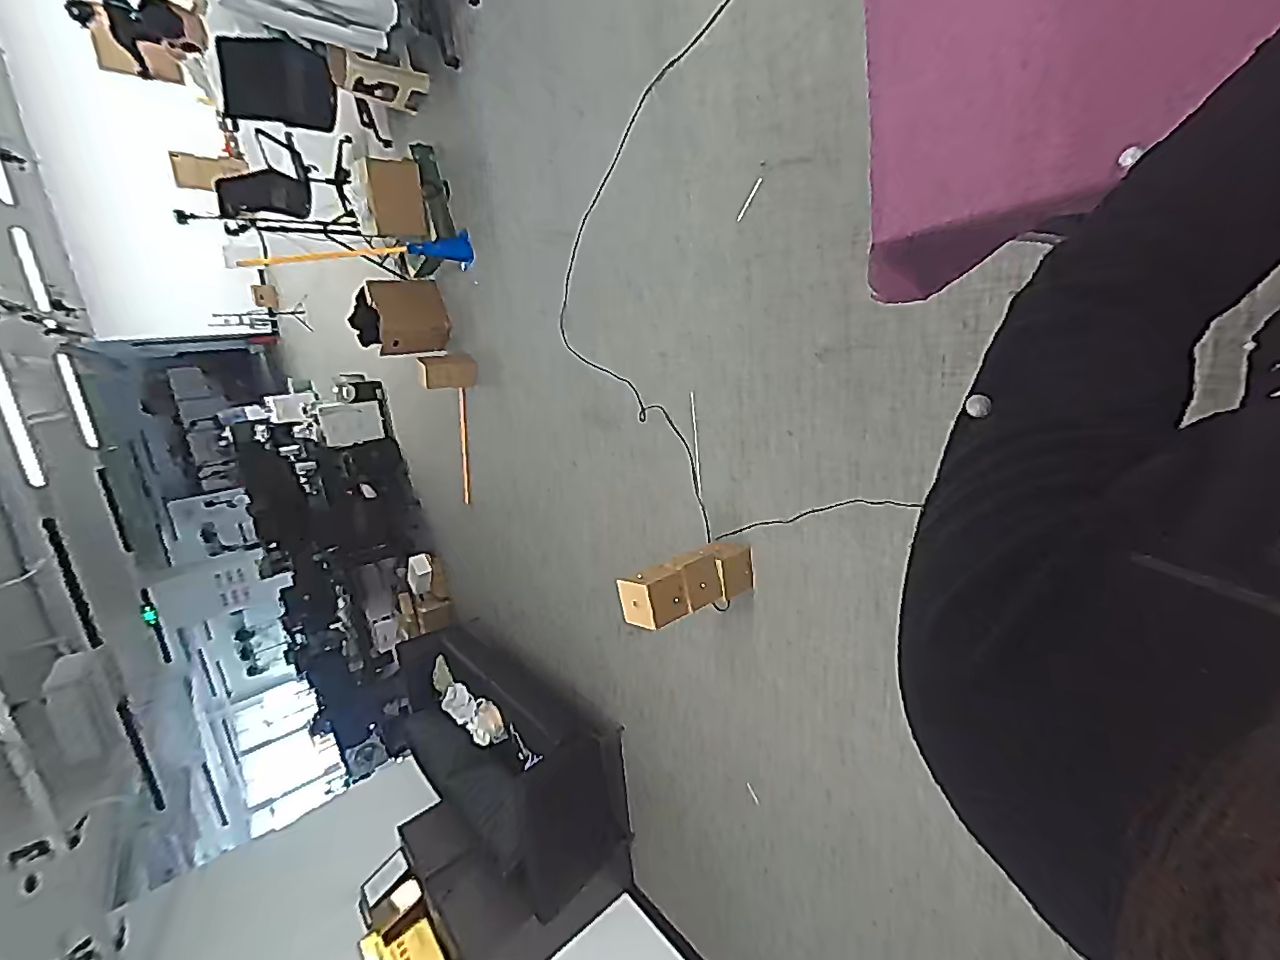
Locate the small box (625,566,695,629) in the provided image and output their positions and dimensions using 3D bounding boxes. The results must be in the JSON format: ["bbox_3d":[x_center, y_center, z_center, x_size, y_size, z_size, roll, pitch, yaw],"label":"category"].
[{"bbox_3d":[0.072,0.419,1.962,0.179,0.176,0.168,-3,100,53],"label":"small box"}]

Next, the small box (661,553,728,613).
[{"bbox_3d":[0.208,0.383,2.046,0.168,0.176,0.179,-8,97,54],"label":"small box"}]
